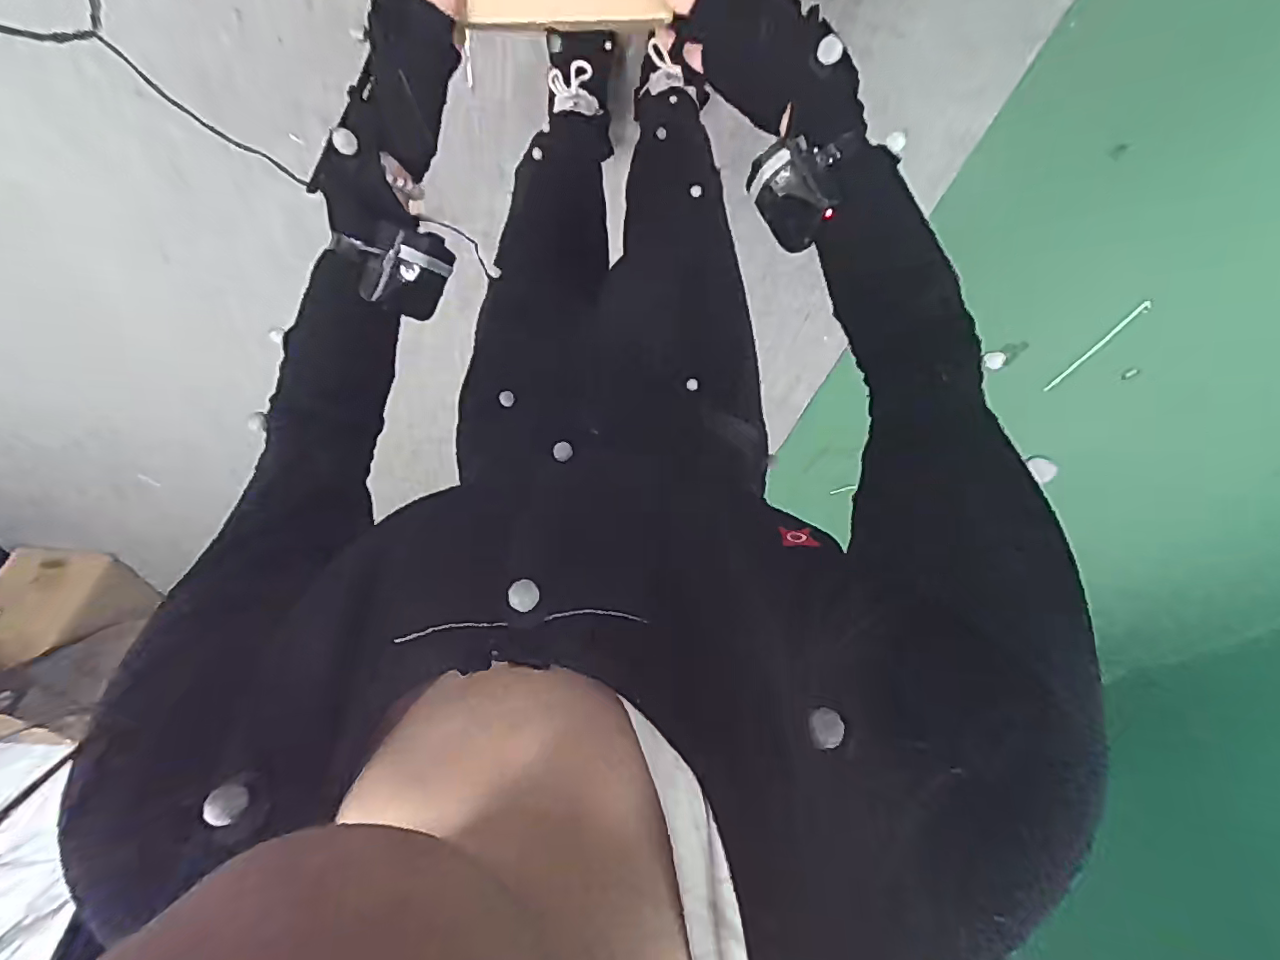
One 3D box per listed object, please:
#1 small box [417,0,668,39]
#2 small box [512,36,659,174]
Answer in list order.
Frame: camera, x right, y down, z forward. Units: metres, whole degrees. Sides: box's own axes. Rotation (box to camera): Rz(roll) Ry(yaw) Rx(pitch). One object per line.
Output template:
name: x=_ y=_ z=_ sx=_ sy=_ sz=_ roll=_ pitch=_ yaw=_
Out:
small box: x=-0.064 y=-0.412 z=0.360 sx=0.168 sy=0.176 sz=0.179 roll=-2 pitch=131 yaw=-2
small box: x=-0.102 y=-0.689 z=0.961 sx=0.168 sy=0.176 sz=0.179 roll=-26 pitch=112 yaw=43
